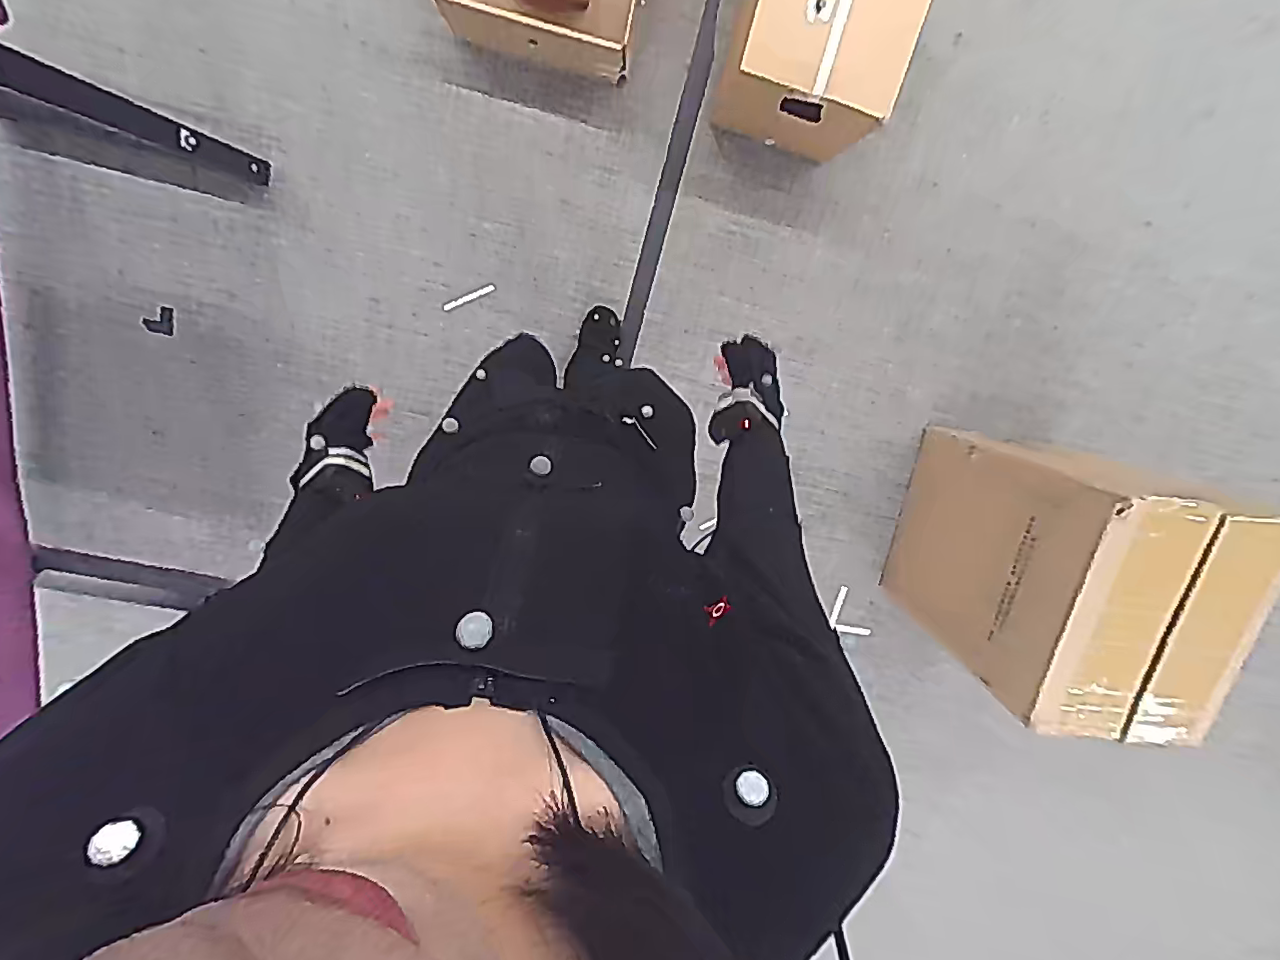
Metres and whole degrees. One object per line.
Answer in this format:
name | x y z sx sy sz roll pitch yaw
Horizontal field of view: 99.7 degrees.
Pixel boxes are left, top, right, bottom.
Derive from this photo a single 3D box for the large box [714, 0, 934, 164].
large box | 0.378 -0.947 1.117 0.320 0.320 0.408 13 107 -8
